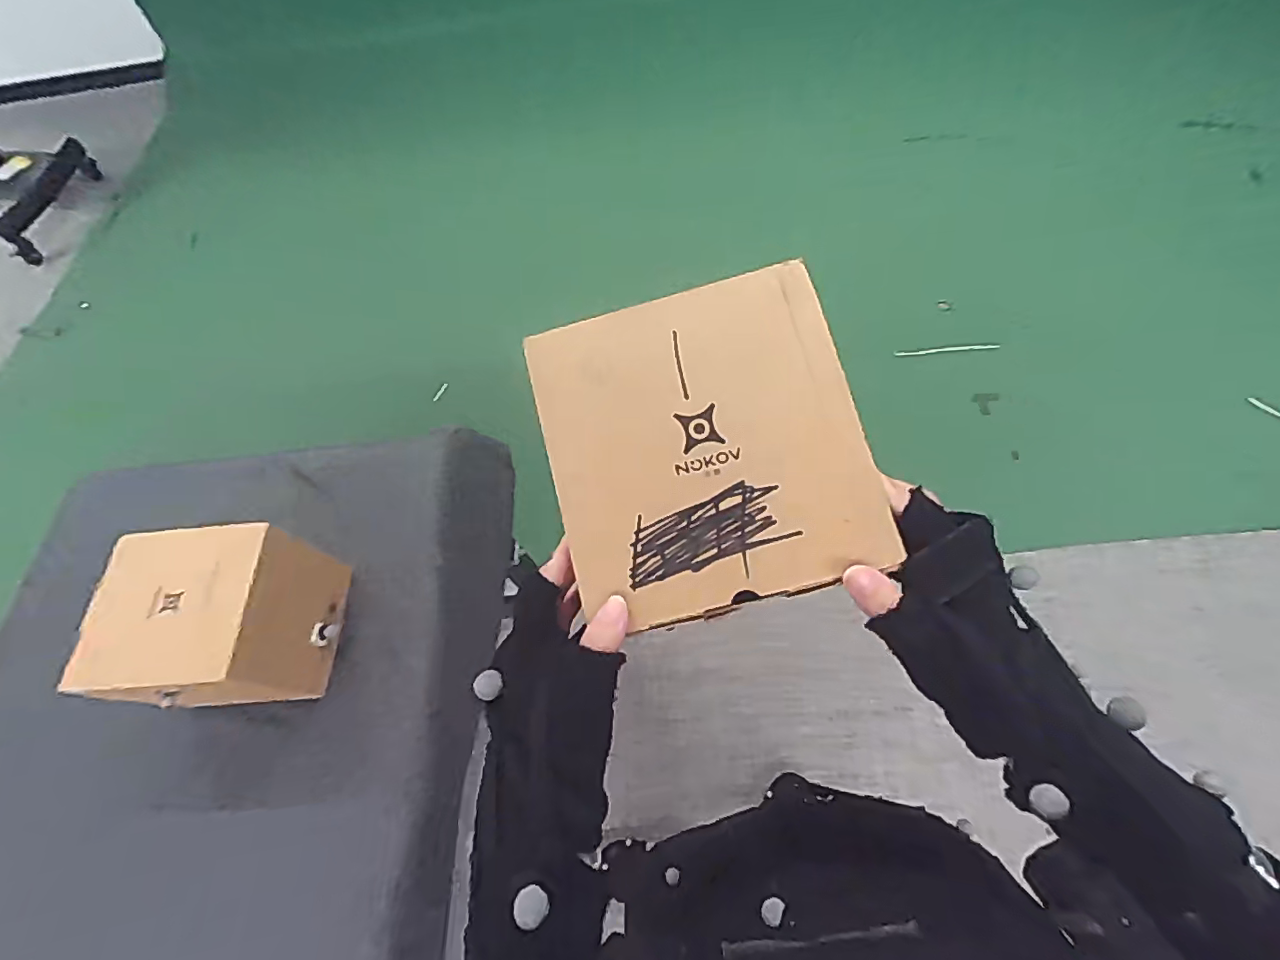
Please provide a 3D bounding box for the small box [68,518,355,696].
[{"bbox_3d":[-0.476,0.156,0.634,0.179,0.176,0.168,-5,64,3],"label":"small box"}]

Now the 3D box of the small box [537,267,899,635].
[{"bbox_3d":[0.045,-0.007,0.372,0.168,0.176,0.179,-14,79,4],"label":"small box"}]
